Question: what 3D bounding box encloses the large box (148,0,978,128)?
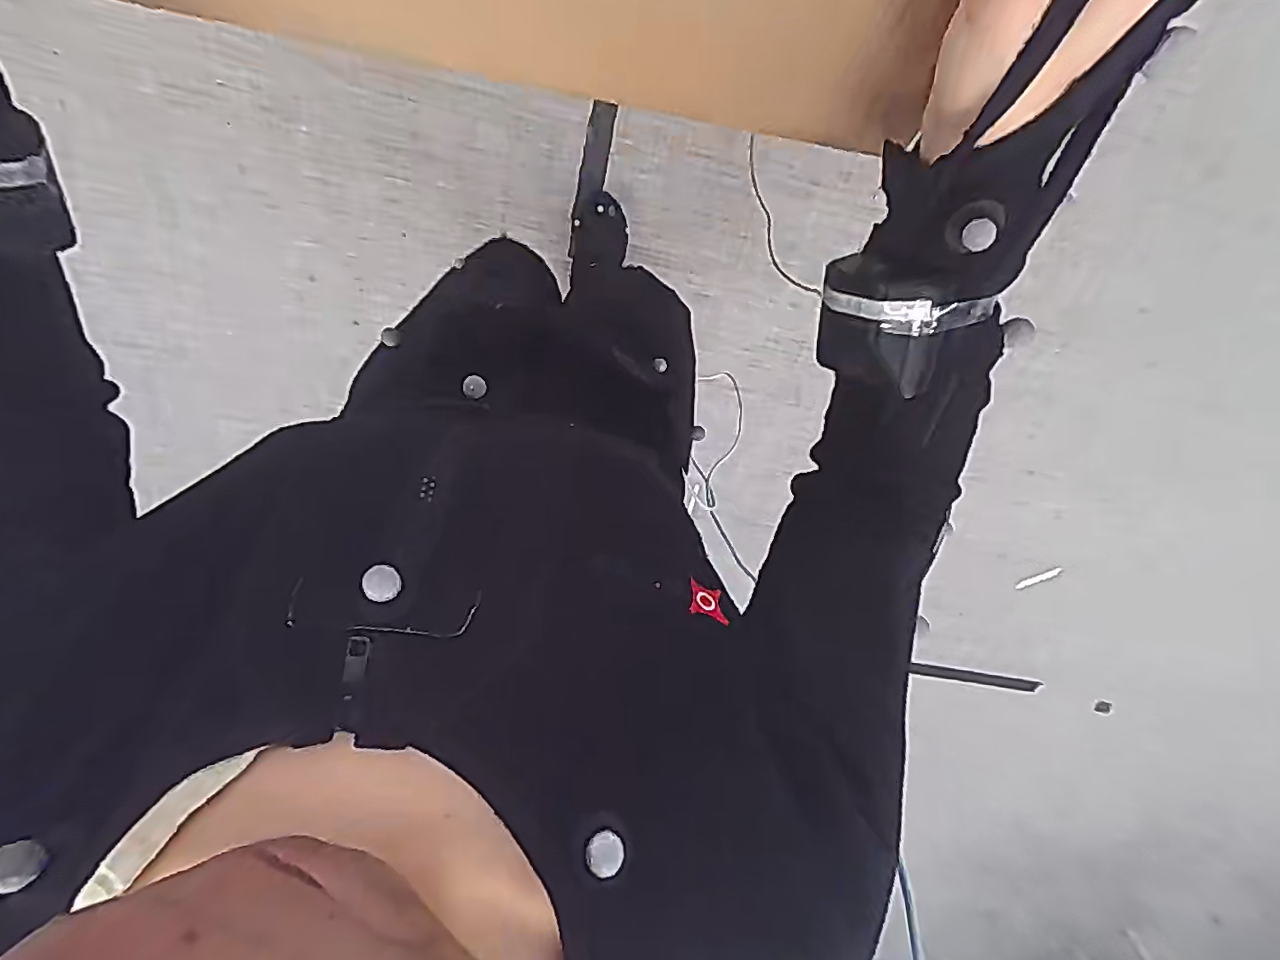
[{"bbox_3d":[-0.029,-0.389,0.163,0.408,0.320,0.320,8,79,-4],"label":"large box"}]
